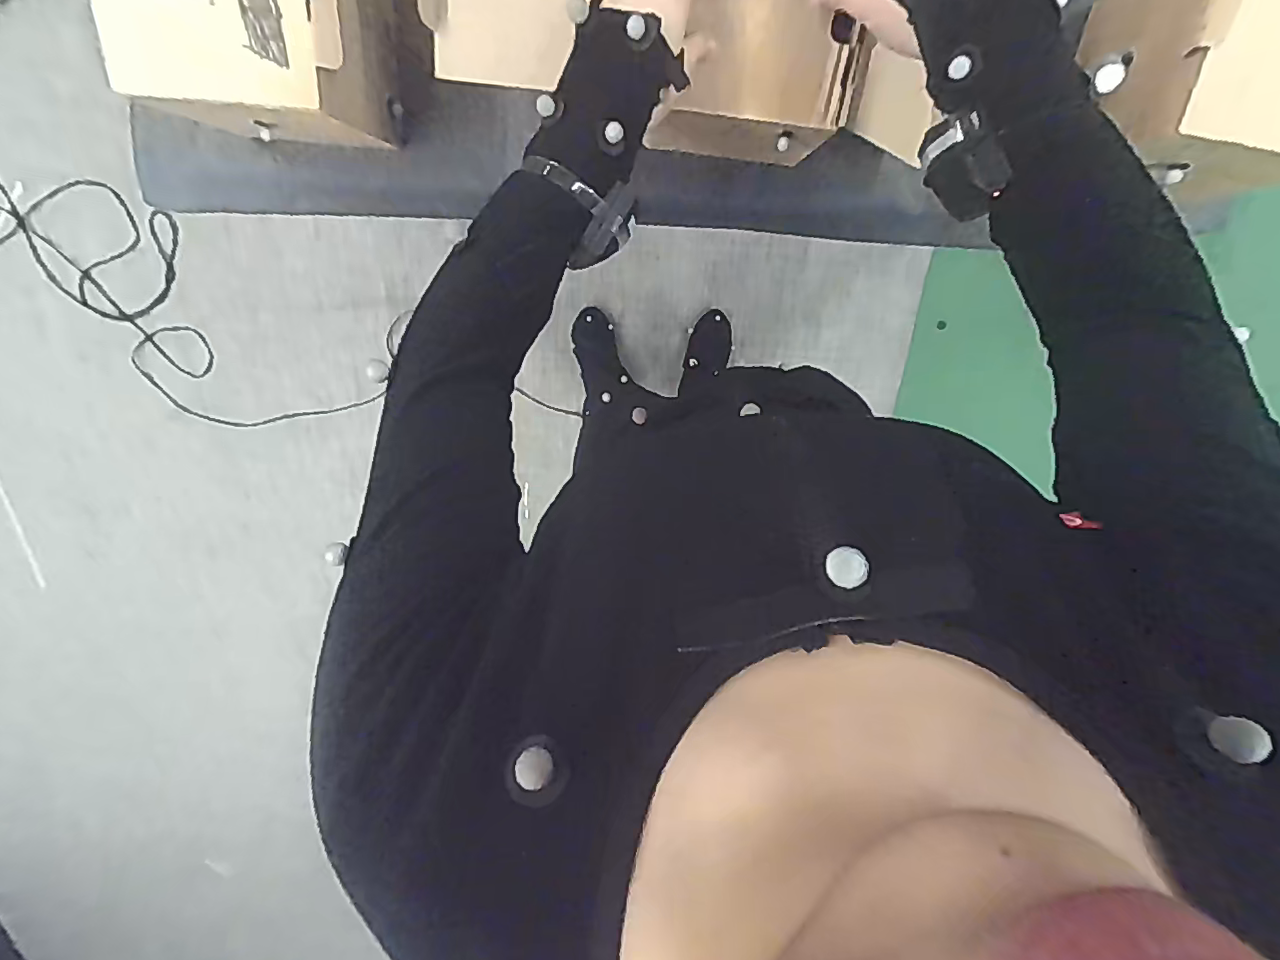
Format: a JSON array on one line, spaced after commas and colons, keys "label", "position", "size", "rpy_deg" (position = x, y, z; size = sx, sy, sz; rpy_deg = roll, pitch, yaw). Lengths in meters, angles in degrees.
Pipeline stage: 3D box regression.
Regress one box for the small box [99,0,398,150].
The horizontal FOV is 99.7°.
[{"label": "small box", "position": [-0.340, -0.416, 0.498], "size": [0.179, 0.176, 0.168], "rpy_deg": [4, 112, -1]}]
